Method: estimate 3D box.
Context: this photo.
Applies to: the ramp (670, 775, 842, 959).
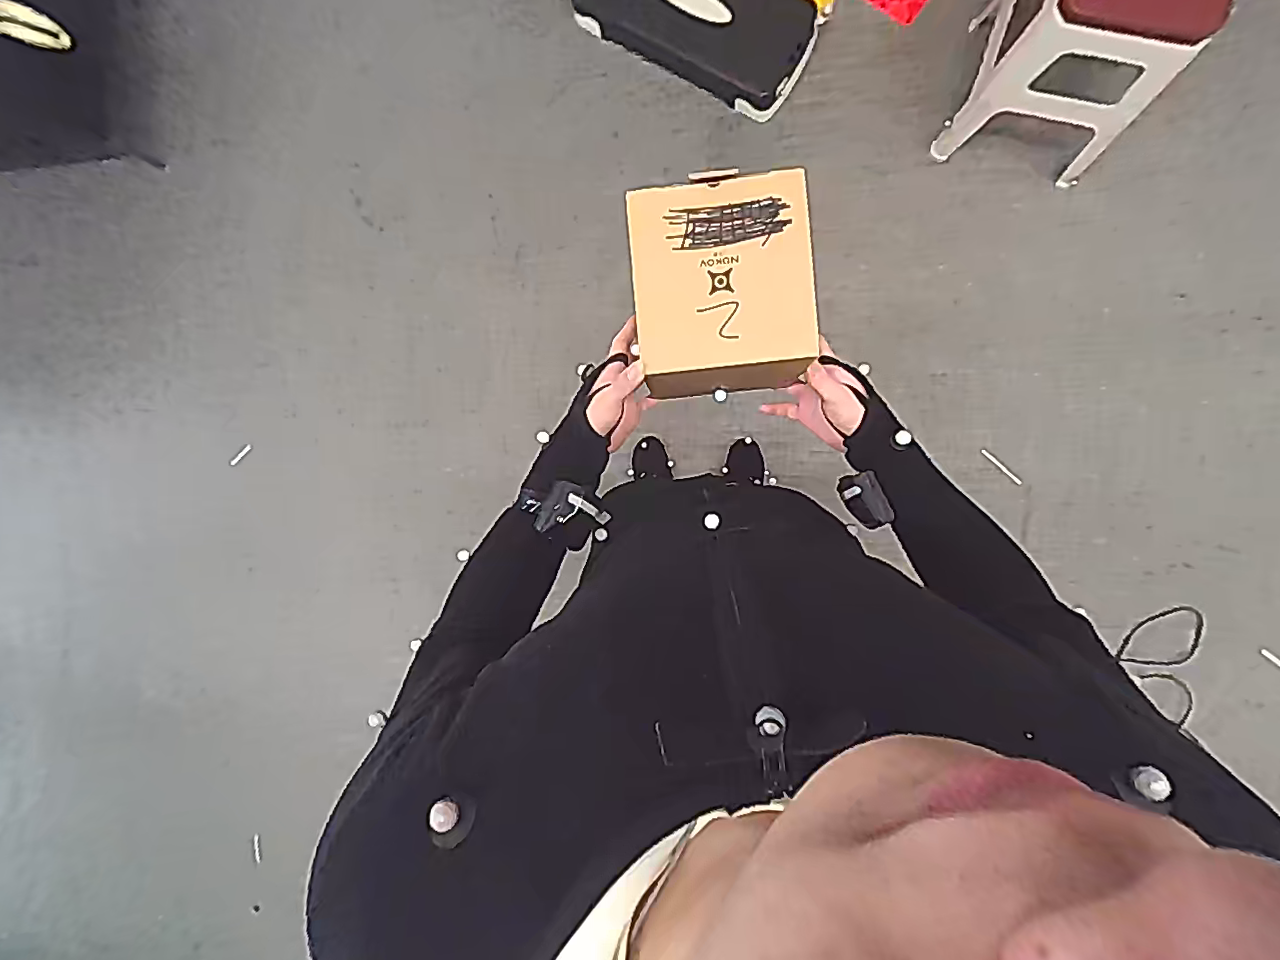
[{"bbox_3d":[0.343,1.408,1.599,0.509,0.206,0.991,-4,92,9],"label":"ramp"}]
